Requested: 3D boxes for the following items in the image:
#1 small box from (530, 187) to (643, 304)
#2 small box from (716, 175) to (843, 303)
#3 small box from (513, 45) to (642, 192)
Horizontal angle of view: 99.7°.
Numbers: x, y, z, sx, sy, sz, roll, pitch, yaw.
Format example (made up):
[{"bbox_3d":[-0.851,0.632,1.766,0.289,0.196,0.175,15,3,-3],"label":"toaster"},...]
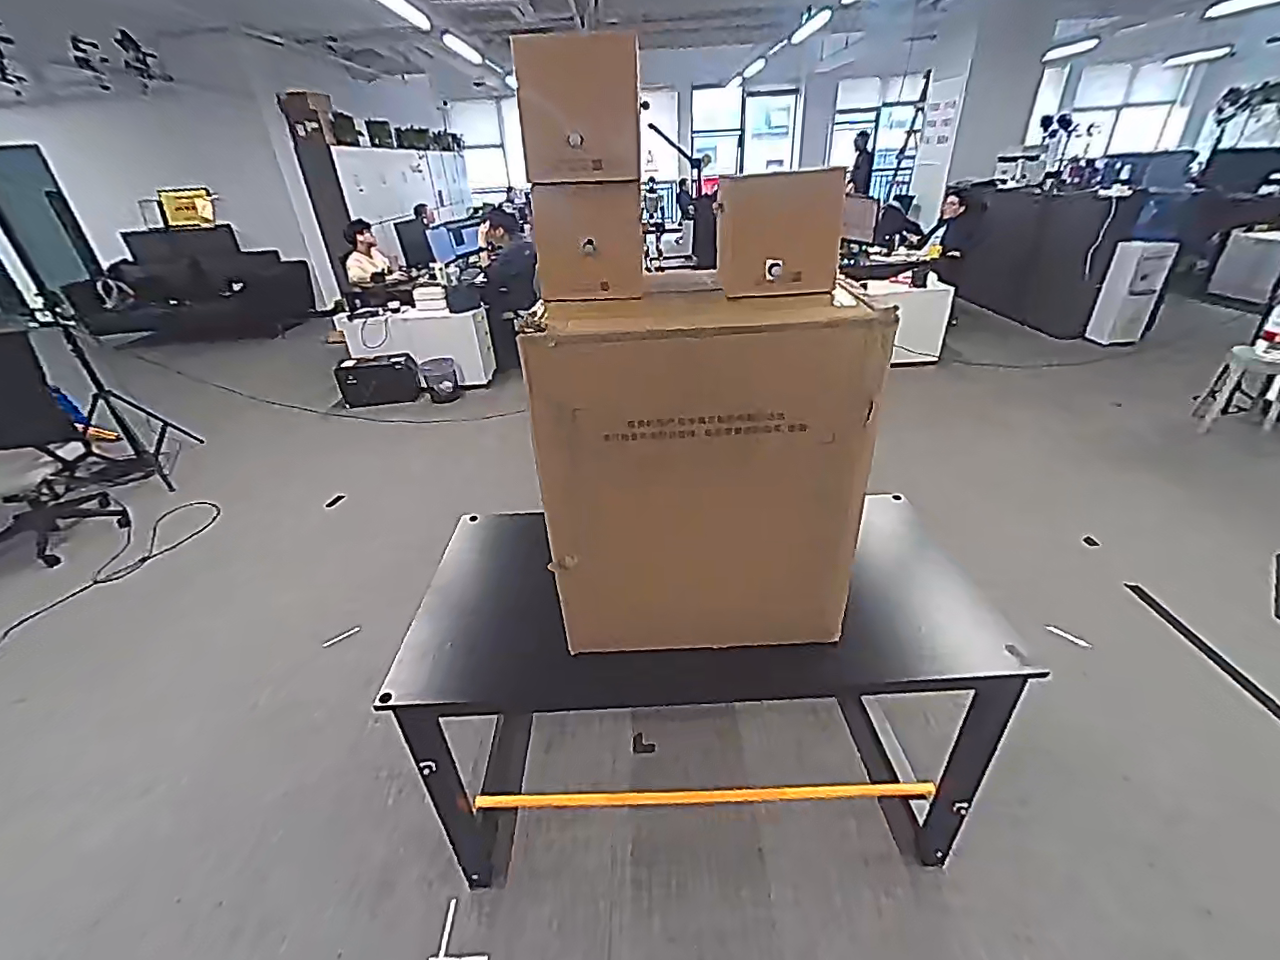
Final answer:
[{"bbox_3d":[-0.081,-0.396,0.910,0.168,0.176,0.179,-2,30,0],"label":"small box"},{"bbox_3d":[0.212,-0.389,0.872,0.168,0.176,0.179,-4,30,3],"label":"small box"},{"bbox_3d":[-0.083,-0.532,0.814,0.168,0.176,0.179,-1,30,1],"label":"small box"}]
